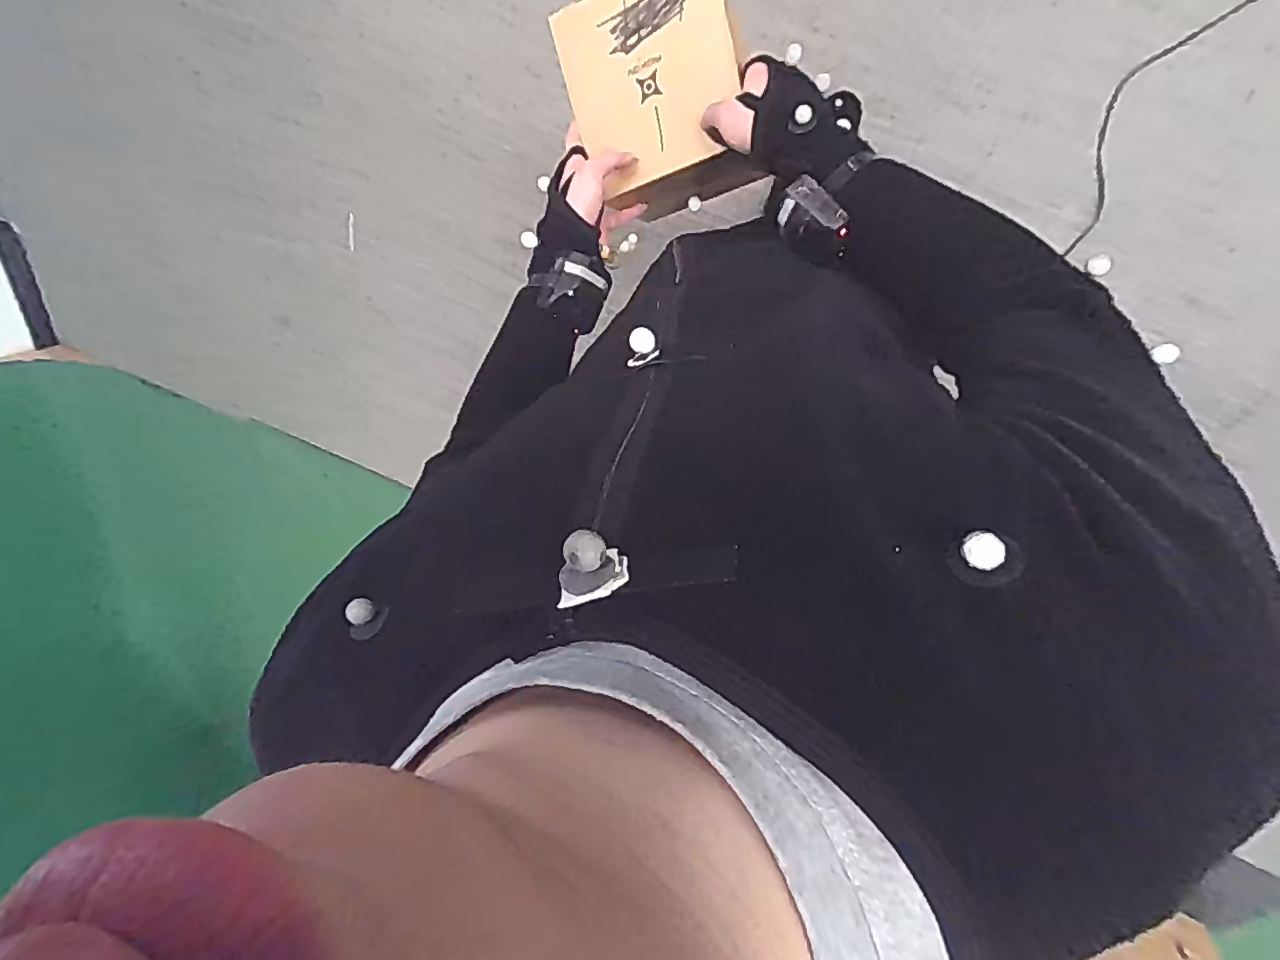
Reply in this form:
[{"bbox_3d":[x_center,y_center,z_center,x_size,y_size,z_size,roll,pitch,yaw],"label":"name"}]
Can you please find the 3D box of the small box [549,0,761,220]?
[{"bbox_3d":[0.029,-0.412,0.598,0.168,0.176,0.179,-10,104,24],"label":"small box"}]
